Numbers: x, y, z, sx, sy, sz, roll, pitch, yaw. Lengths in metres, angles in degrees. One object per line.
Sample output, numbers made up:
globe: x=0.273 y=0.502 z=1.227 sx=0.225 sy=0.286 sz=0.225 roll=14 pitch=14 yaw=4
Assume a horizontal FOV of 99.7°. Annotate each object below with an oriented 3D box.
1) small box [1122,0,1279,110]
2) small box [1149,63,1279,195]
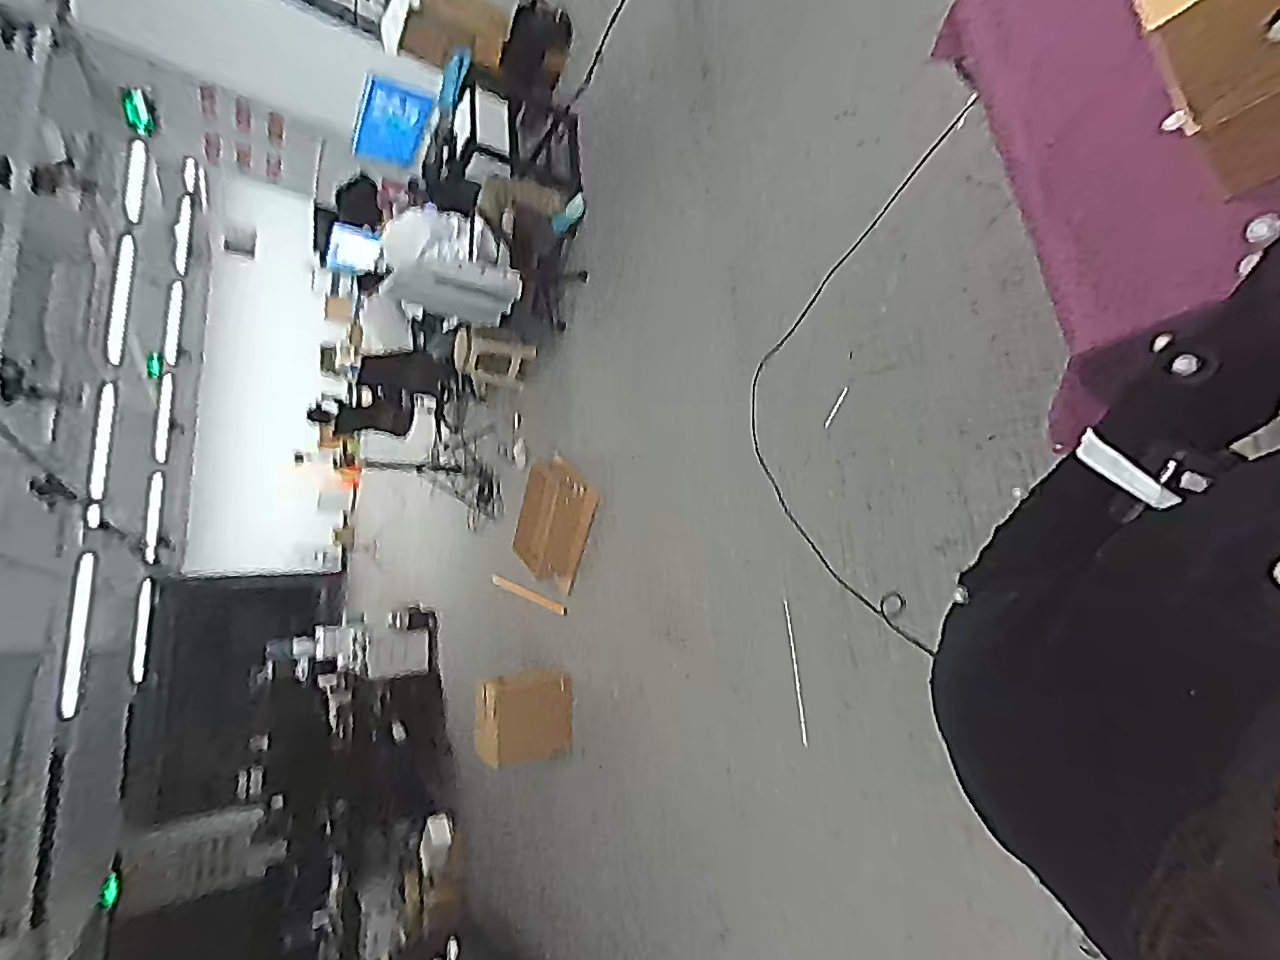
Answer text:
small box: x=0.477 y=-0.422 z=0.403 sx=0.168 sy=0.176 sz=0.179 roll=-21 pitch=69 yaw=52
small box: x=0.608 y=-0.409 z=0.499 sx=0.179 sy=0.176 sz=0.168 roll=-22 pitch=69 yaw=52
